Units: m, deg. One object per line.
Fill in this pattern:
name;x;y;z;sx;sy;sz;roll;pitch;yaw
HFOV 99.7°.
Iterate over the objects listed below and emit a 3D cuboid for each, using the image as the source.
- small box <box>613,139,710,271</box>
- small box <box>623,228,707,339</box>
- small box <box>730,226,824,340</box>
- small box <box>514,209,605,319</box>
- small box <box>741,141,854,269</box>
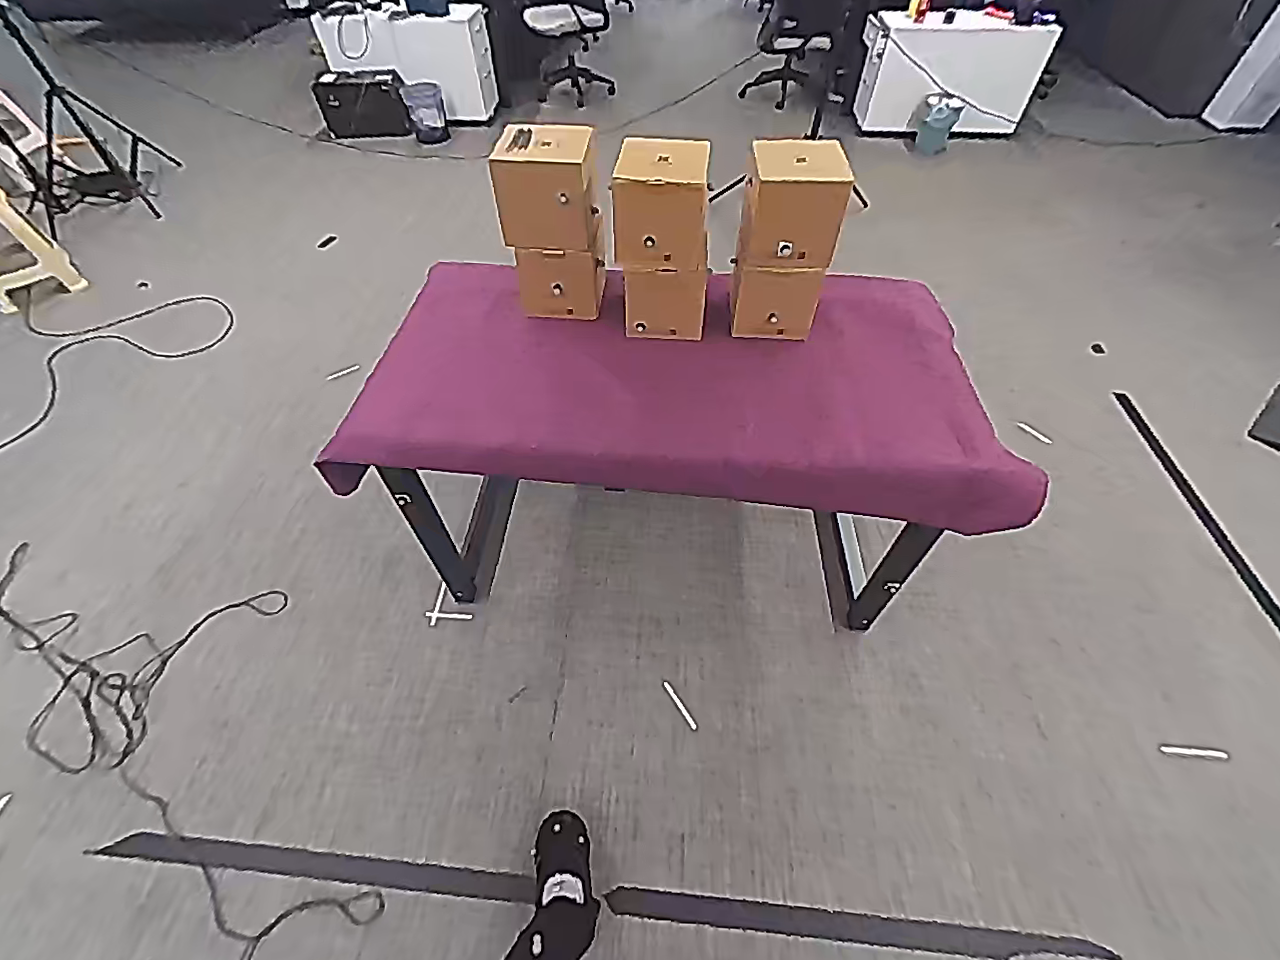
small box;0.042;-0.531;1.050;0.168;0.176;0.179;5;53;4
small box;0.056;-0.426;1.174;0.168;0.176;0.179;3;52;3
small box;0.288;-0.428;1.175;0.168;0.176;0.179;3;53;3
small box;-0.172;-0.483;1.219;0.168;0.176;0.179;4;54;3
small box;0.293;-0.532;1.050;0.168;0.176;0.179;1;53;2
